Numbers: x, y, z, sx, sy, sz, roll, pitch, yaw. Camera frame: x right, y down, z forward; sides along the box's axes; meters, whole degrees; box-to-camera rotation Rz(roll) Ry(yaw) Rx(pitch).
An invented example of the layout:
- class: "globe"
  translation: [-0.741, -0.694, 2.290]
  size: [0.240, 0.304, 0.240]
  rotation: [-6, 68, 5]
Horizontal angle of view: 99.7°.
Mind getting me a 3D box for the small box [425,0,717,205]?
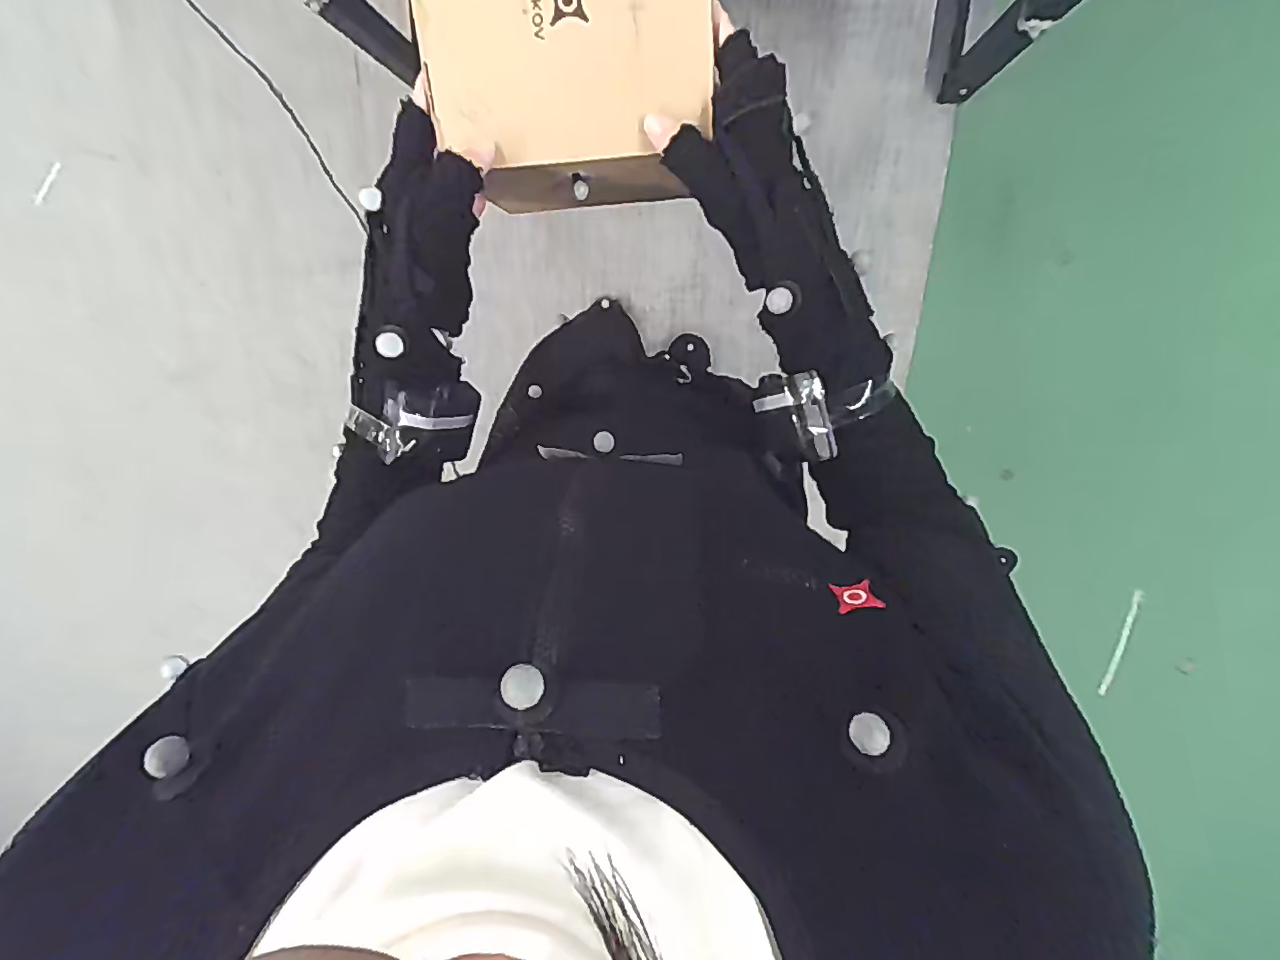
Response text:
- class: "small box"
  translation: [-0.041, -0.313, 0.399]
  size: [0.179, 0.176, 0.168]
  rotation: [-5, 108, 2]
